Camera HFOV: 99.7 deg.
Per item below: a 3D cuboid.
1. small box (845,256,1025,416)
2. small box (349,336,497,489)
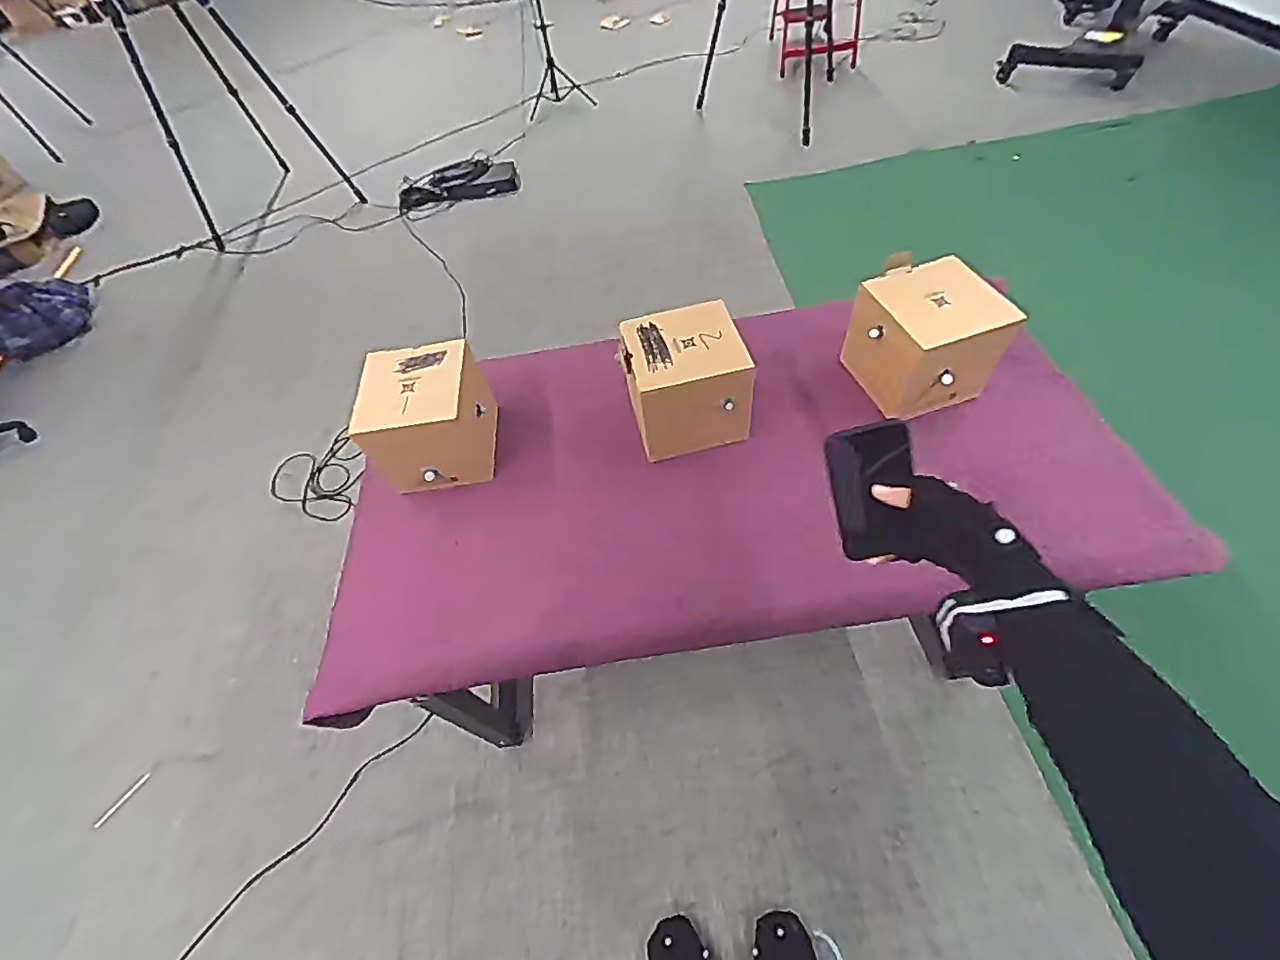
[{"bbox_3d":[0.461,-0.224,0.879,0.168,0.176,0.179,-18,55,-4],"label":"small box"},{"bbox_3d":[-0.345,-0.108,0.898,0.168,0.176,0.179,-8,56,2],"label":"small box"}]
